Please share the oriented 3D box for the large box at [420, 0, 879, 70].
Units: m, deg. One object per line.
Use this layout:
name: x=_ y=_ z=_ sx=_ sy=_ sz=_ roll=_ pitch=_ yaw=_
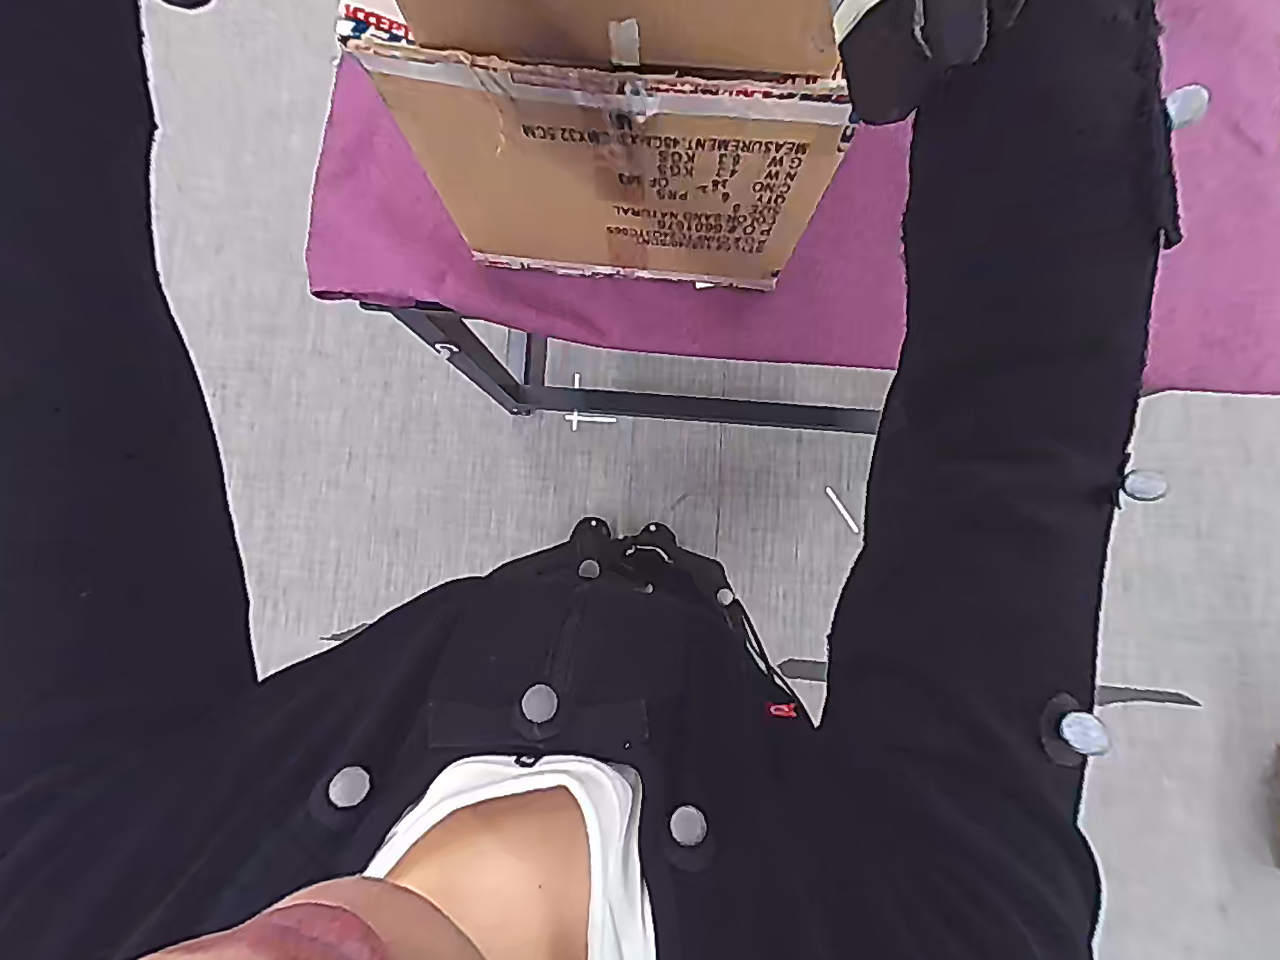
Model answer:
large box: x=0.012 y=-0.514 z=0.261 sx=0.320 sy=0.320 sz=0.408 roll=3 pitch=85 yaw=2
